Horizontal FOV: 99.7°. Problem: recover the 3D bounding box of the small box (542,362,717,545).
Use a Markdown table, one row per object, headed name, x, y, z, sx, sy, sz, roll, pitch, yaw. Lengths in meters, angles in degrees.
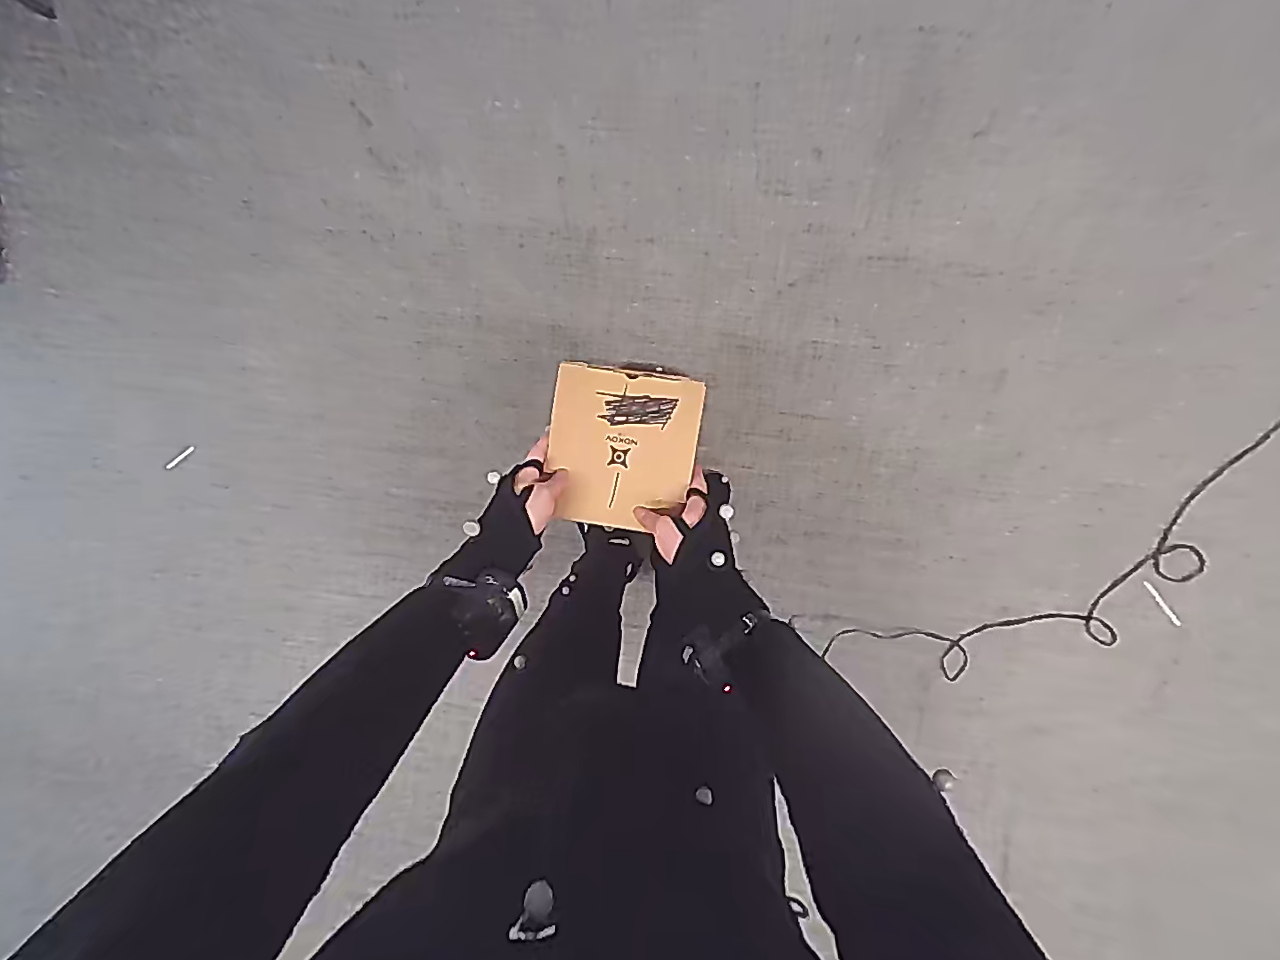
| name | x | y | z | sx | sy | sz | roll | pitch | yaw |
| --- | --- | --- | --- | --- | --- | --- | --- | --- | --- |
| small box | -0.011 | -0.028 | 0.674 | 0.168 | 0.176 | 0.179 | 12 | 90 | 1 |
